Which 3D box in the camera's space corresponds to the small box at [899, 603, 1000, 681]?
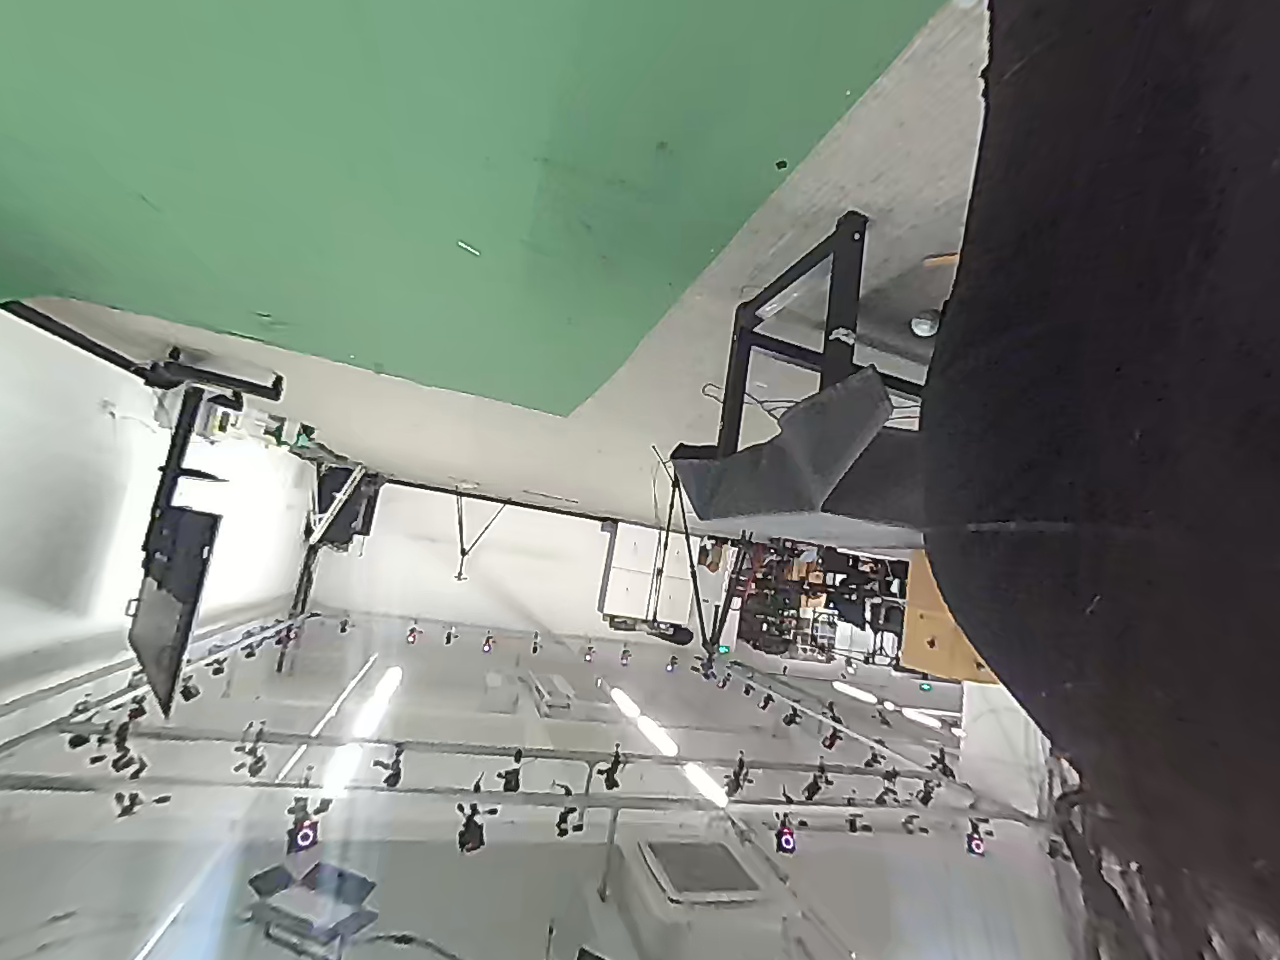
[{"bbox_3d":[0.835,0.431,1.461,0.179,0.176,0.168,12,170,-16],"label":"small box"}]
